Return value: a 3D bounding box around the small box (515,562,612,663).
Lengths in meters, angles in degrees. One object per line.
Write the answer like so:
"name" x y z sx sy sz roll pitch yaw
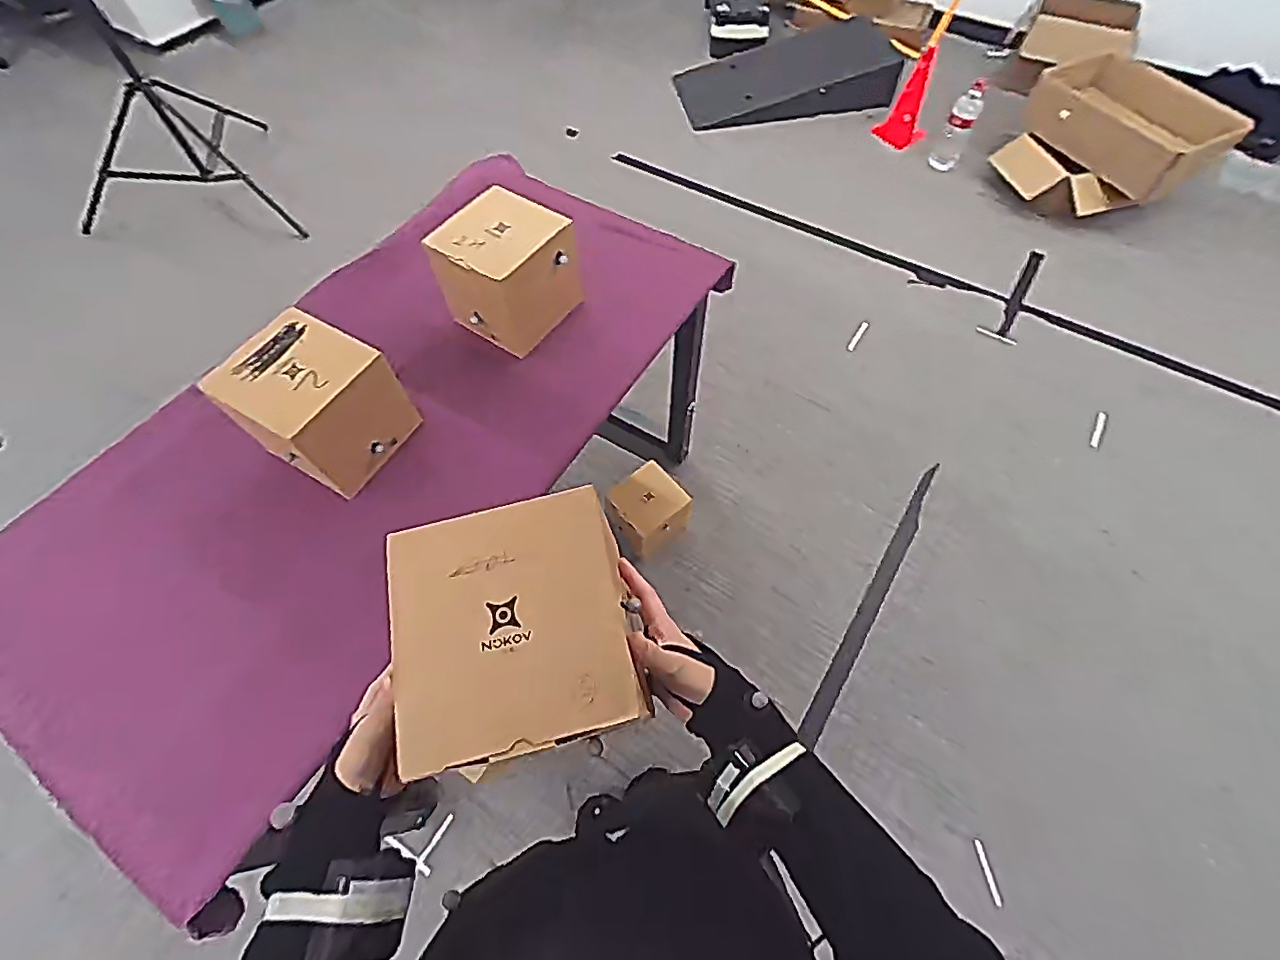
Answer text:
"small box" -0.185 0.341 1.370 0.179 0.176 0.168 29 66 14

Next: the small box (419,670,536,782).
"small box" -0.365 0.572 1.247 0.179 0.176 0.168 30 66 16

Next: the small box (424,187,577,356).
"small box" -0.221 -0.349 0.915 0.168 0.176 0.179 31 66 17

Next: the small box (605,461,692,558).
"small box" 0.021 0.086 1.509 0.179 0.176 0.168 -37 68 -17
